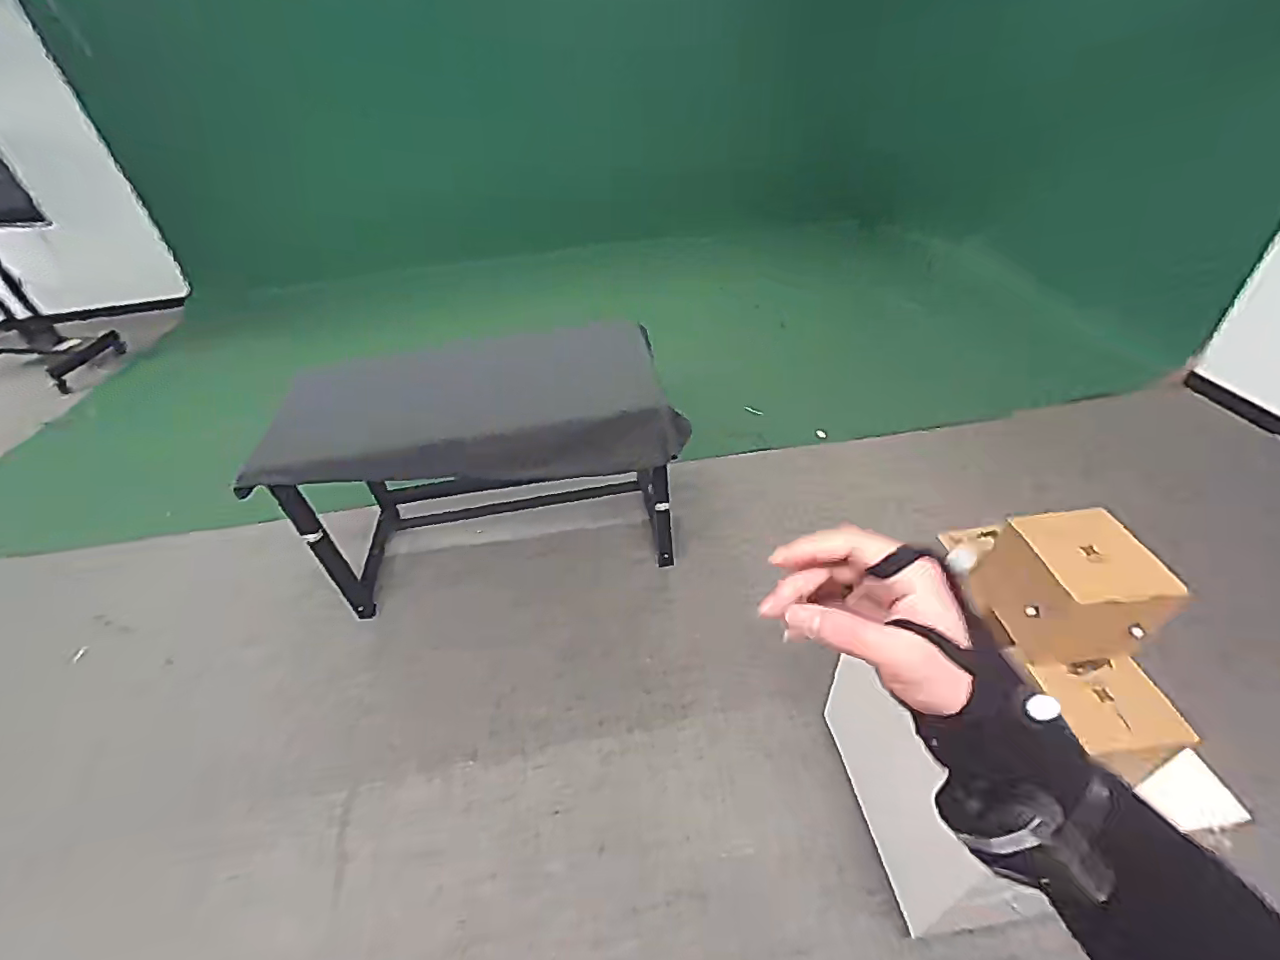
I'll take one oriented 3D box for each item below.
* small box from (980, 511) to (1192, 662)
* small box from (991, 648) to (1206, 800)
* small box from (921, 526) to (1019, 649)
[{"bbox_3d":[0.693,0.175,0.868,0.168,0.176,0.179,-6,39,-1],"label":"small box"},{"bbox_3d":[0.712,0.384,0.870,0.168,0.176,0.179,-7,41,0],"label":"small box"},{"bbox_3d":[0.692,0.217,1.069,0.168,0.176,0.179,-8,42,-2],"label":"small box"}]
